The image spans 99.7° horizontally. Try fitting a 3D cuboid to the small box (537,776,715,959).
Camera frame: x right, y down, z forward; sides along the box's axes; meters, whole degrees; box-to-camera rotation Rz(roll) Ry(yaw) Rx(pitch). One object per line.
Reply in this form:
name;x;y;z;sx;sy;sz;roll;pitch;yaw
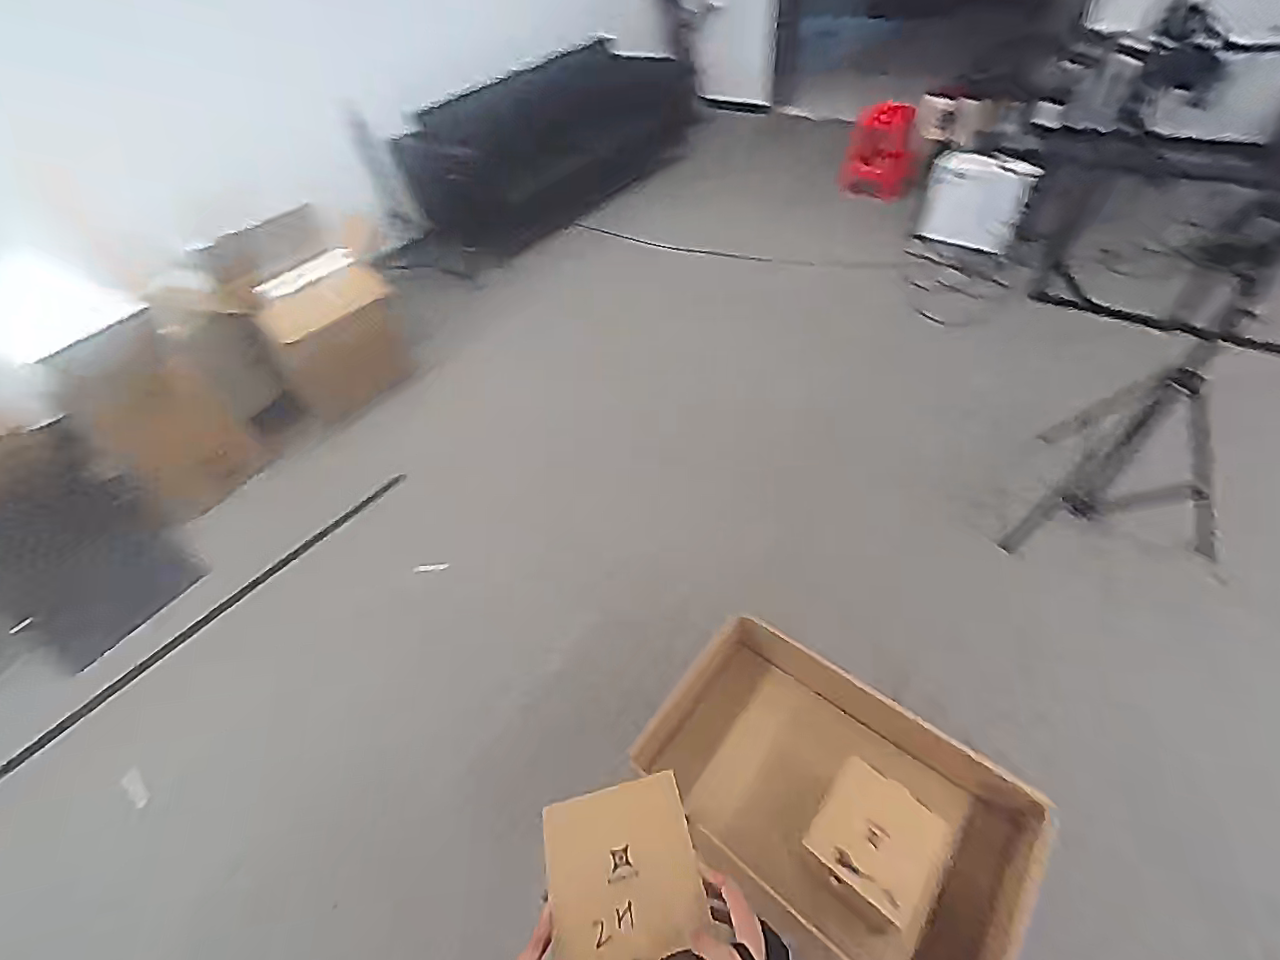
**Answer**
small box;-0.017;0.491;0.632;0.168;0.176;0.179;-14;38;-7
